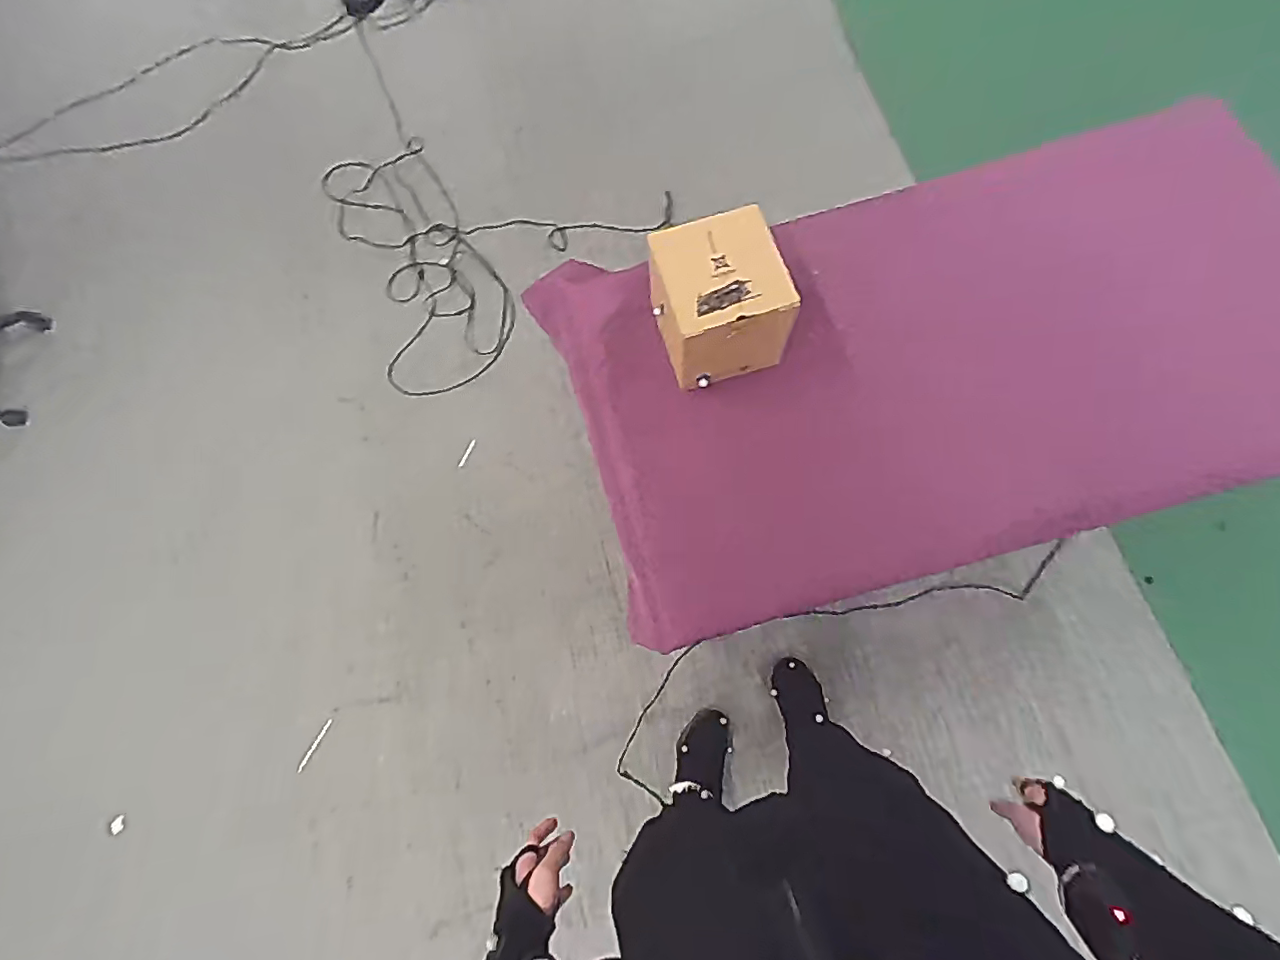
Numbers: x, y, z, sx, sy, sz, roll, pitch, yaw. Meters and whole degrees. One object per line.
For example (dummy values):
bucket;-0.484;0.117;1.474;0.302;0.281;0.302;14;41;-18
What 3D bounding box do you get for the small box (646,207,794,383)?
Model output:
small box;0.114;-0.266;0.822;0.168;0.176;0.179;-16;72;-1
